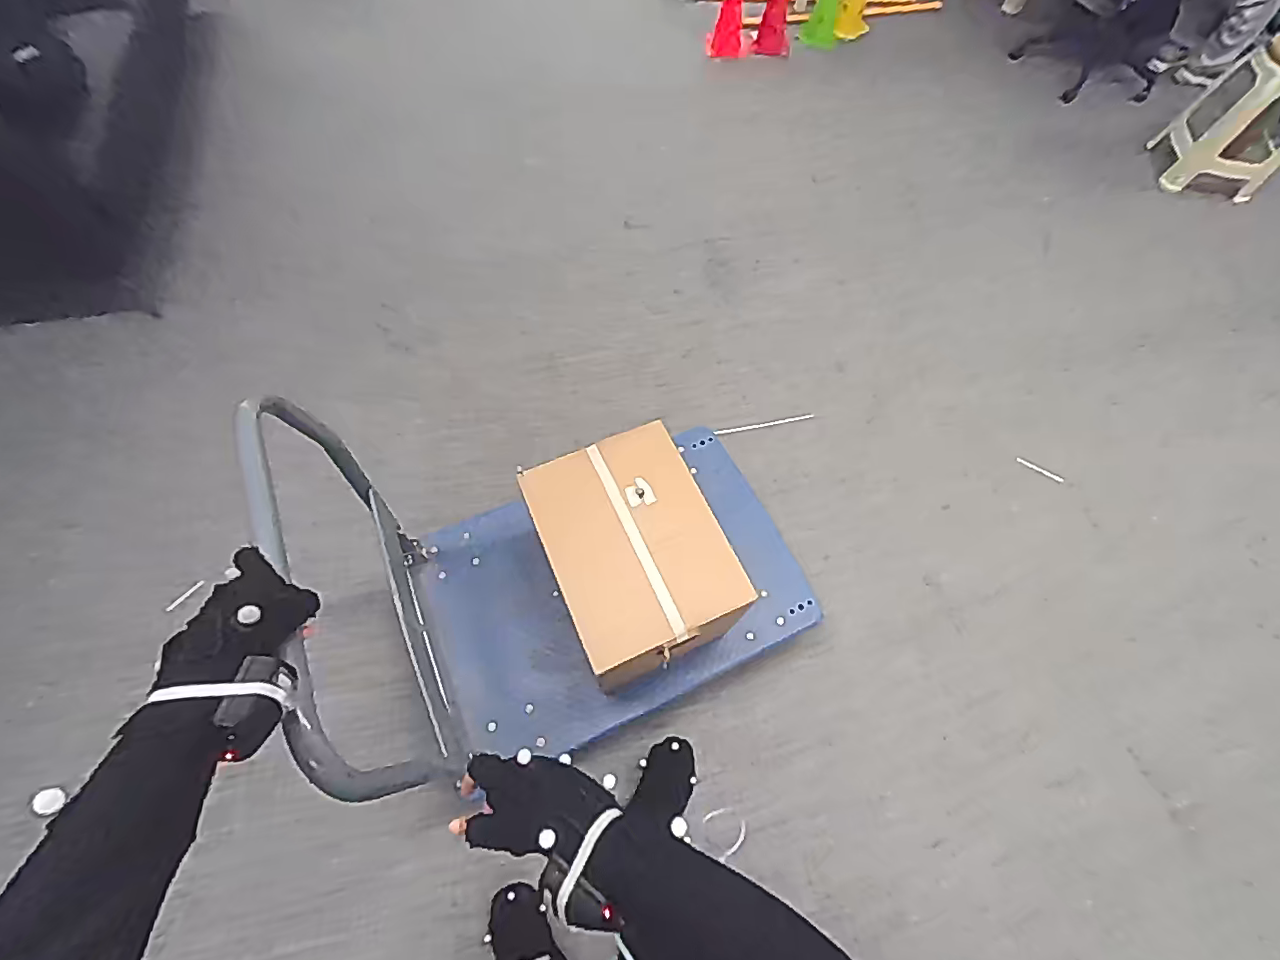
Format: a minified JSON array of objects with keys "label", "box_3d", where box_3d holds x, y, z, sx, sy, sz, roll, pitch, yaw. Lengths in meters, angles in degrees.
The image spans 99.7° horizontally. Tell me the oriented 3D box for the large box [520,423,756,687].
[{"label":"large box","box_3d":[-0.015,0.165,1.135,0.320,0.320,0.408,-22,65,-12]}]
